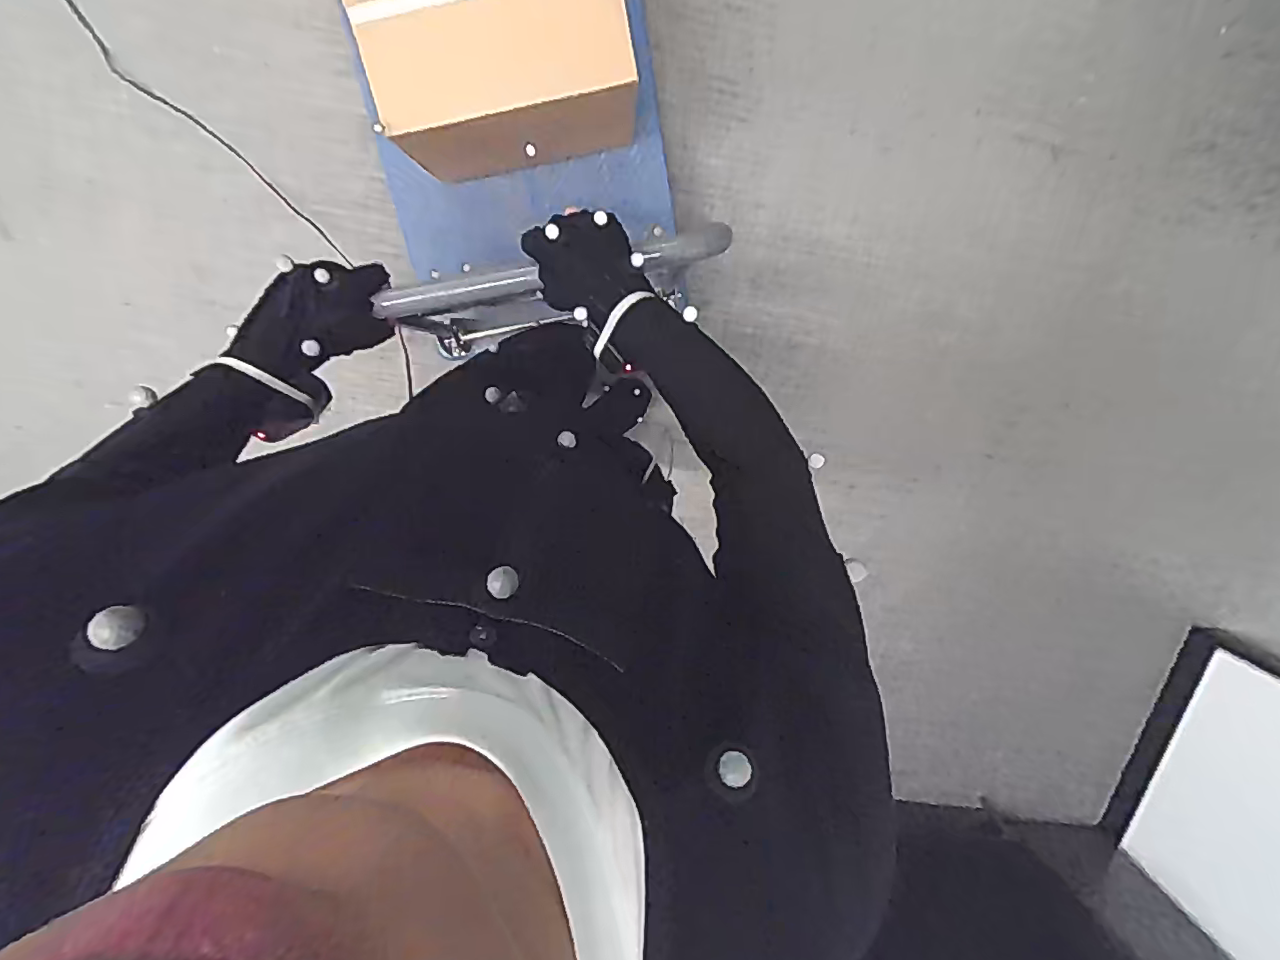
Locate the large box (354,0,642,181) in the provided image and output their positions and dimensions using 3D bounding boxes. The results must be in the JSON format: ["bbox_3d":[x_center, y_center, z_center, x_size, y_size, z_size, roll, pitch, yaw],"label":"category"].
[{"bbox_3d":[-0.227,-0.763,0.942,0.408,0.320,0.320,-12,106,1],"label":"large box"}]
